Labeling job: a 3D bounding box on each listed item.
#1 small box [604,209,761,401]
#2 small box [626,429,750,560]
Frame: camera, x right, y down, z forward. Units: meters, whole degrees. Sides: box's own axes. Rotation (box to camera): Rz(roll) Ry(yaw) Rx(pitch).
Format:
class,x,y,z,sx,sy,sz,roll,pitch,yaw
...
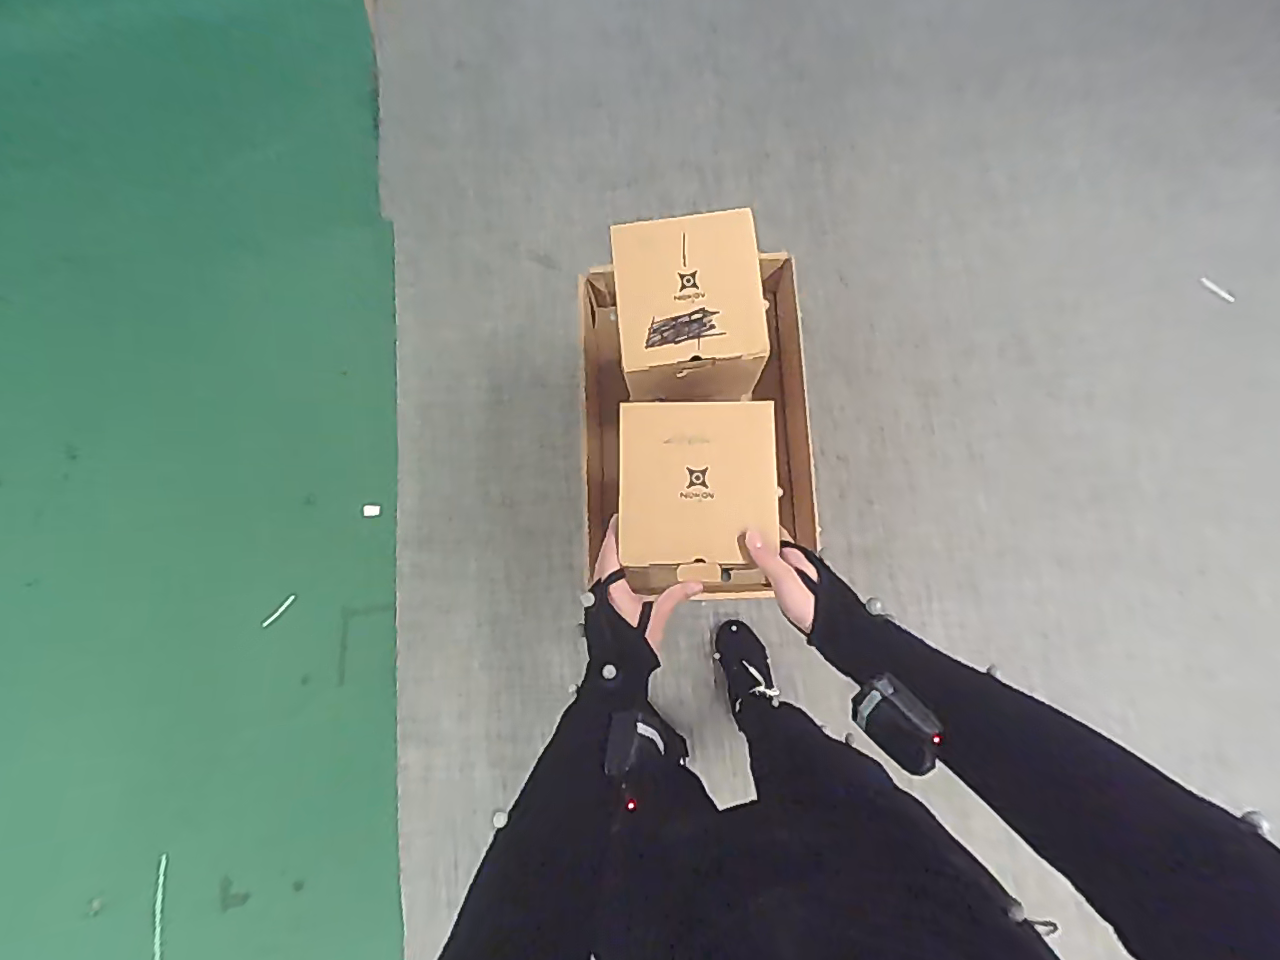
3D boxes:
class,x,y,z,sx,sy,sz,roll,pitch,yaw
small box,0.054,-0.205,0.688,0.168,0.176,0.179,-6,83,4
small box,0.071,0.030,0.809,0.168,0.176,0.179,-2,80,4
